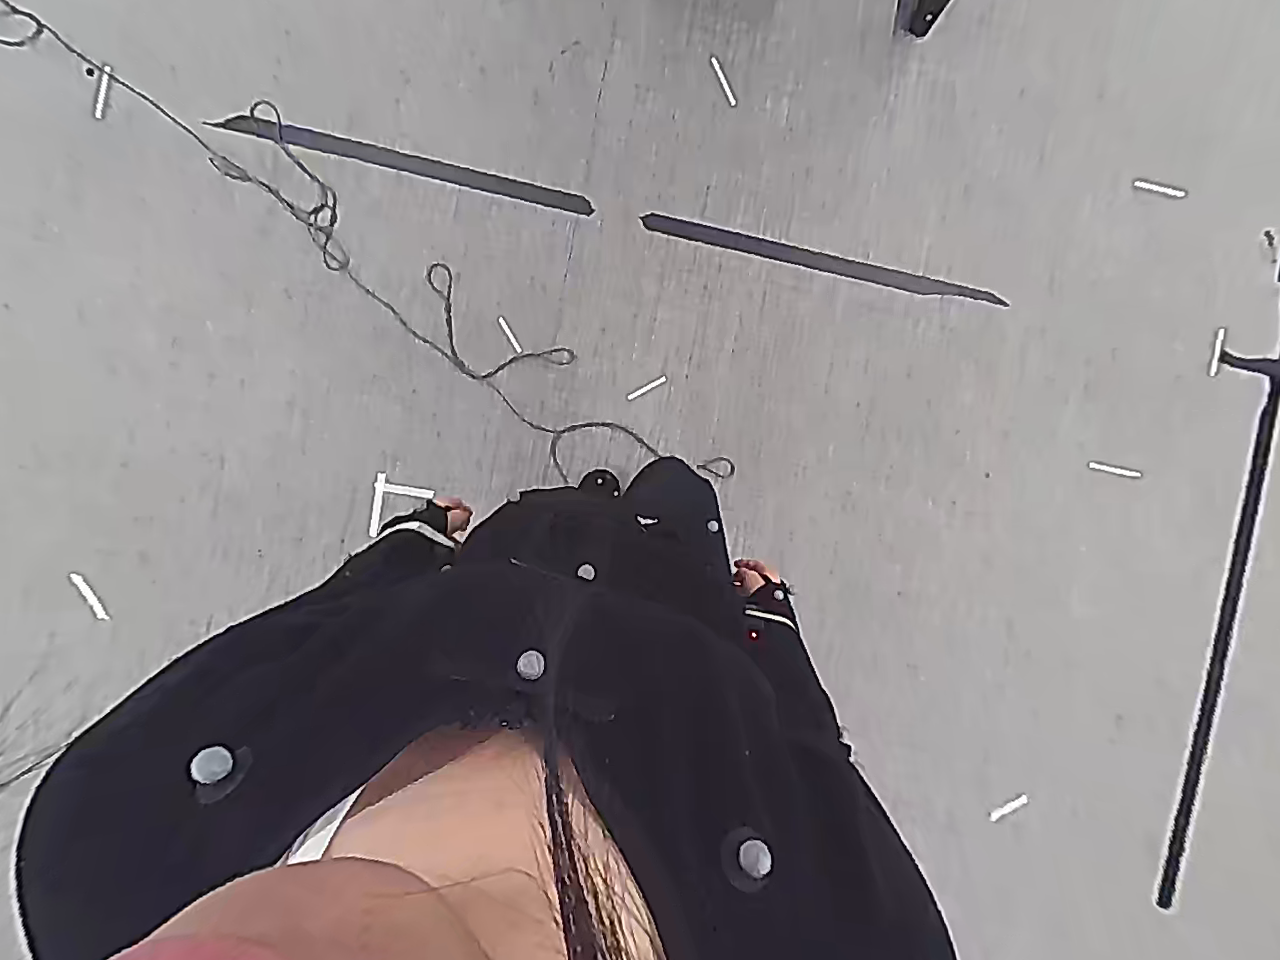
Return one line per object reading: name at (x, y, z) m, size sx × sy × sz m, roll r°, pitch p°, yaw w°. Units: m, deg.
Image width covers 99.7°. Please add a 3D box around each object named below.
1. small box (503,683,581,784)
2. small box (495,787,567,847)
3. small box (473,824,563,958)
small box at (-0.246, 0.647, 1.399) m, size 0.168 × 0.176 × 0.179 m, roll 9°, pitch 92°, yaw -2°
small box at (-0.283, 0.927, 1.403) m, size 0.168 × 0.176 × 0.179 m, roll 4°, pitch 91°, yaw -3°
small box at (-0.272, 0.933, 1.238) m, size 0.168 × 0.176 × 0.179 m, roll 6°, pitch 91°, yaw -4°
